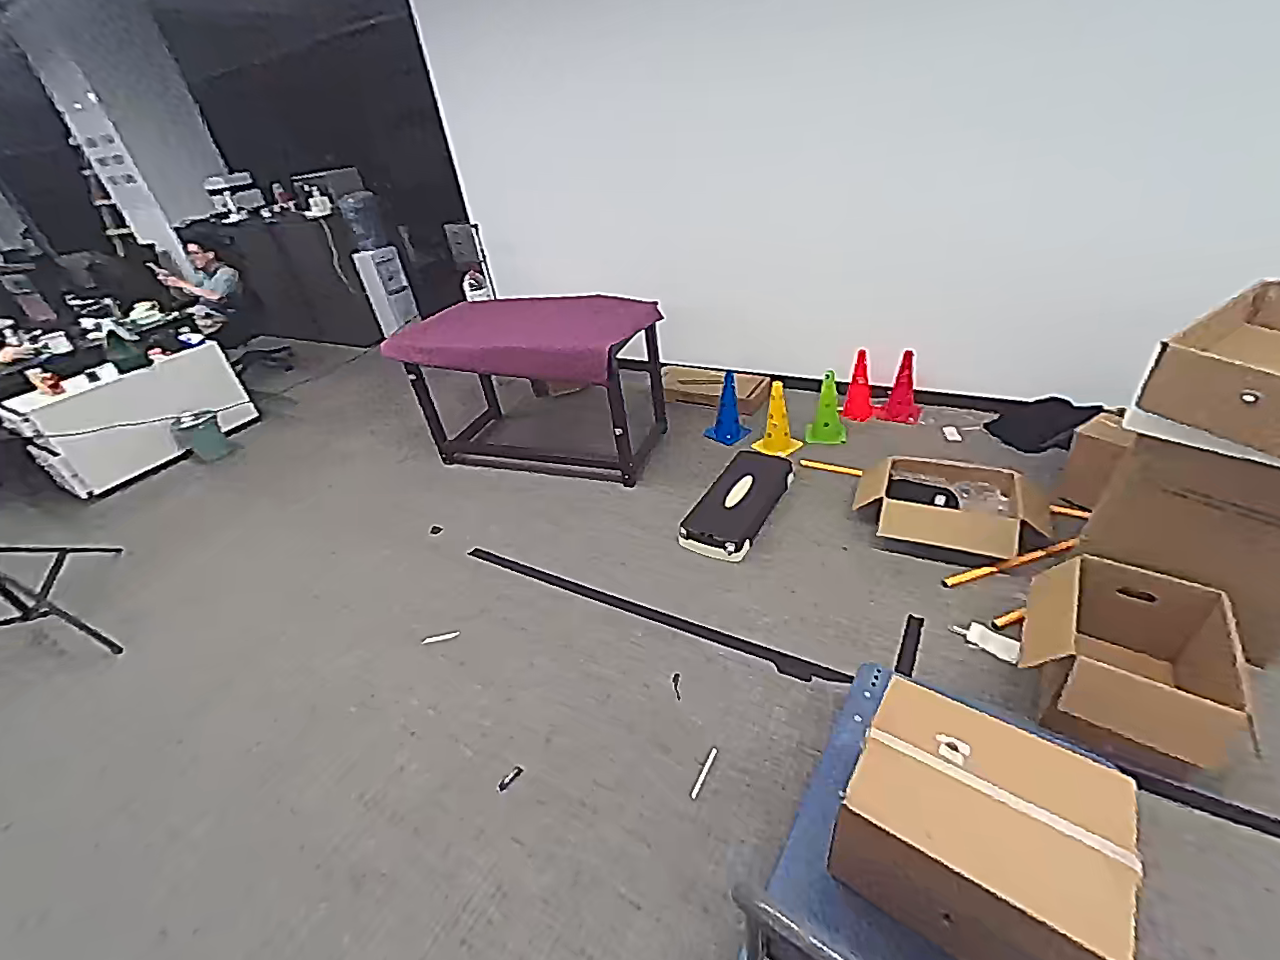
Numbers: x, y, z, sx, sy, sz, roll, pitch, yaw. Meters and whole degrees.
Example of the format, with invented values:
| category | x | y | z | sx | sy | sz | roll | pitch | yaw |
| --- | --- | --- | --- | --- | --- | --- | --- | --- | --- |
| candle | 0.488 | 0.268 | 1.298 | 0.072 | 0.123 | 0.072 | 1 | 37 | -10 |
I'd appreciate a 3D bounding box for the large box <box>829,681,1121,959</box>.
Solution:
| category | x | y | z | sx | sy | sz | roll | pitch | yaw |
| --- | --- | --- | --- | --- | --- | --- | --- | --- | --- |
| large box | 0.623 | 0.677 | 1.046 | 0.408 | 0.320 | 0.320 | 16 | 41 | 33 |
